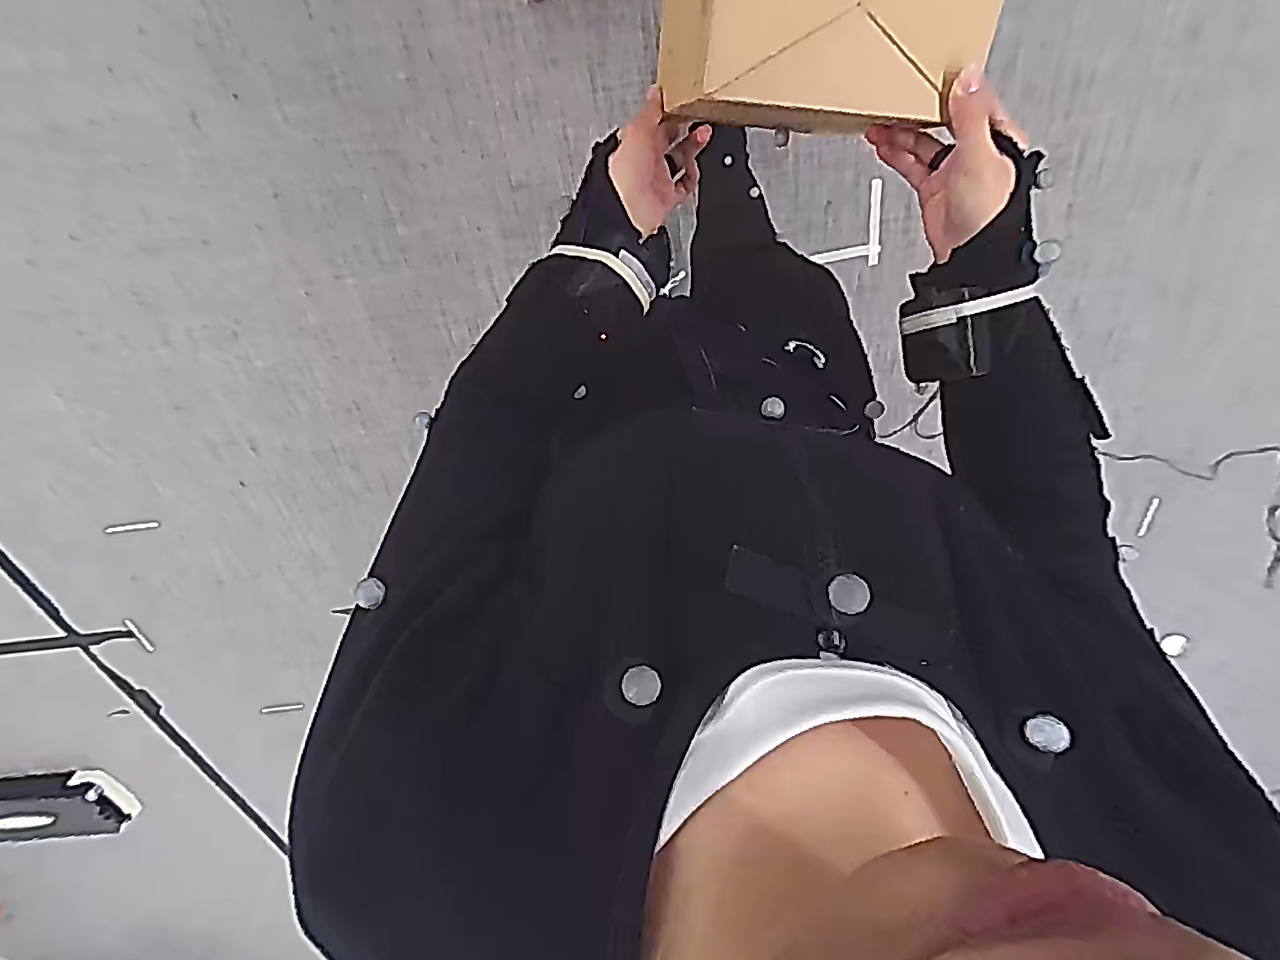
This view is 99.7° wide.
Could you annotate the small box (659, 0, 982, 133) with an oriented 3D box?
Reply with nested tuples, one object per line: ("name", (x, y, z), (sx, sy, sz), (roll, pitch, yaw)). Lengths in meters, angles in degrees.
("small box", (0.117, -0.343, 0.372), (0.179, 0.176, 0.168), (-1, 119, -10))
